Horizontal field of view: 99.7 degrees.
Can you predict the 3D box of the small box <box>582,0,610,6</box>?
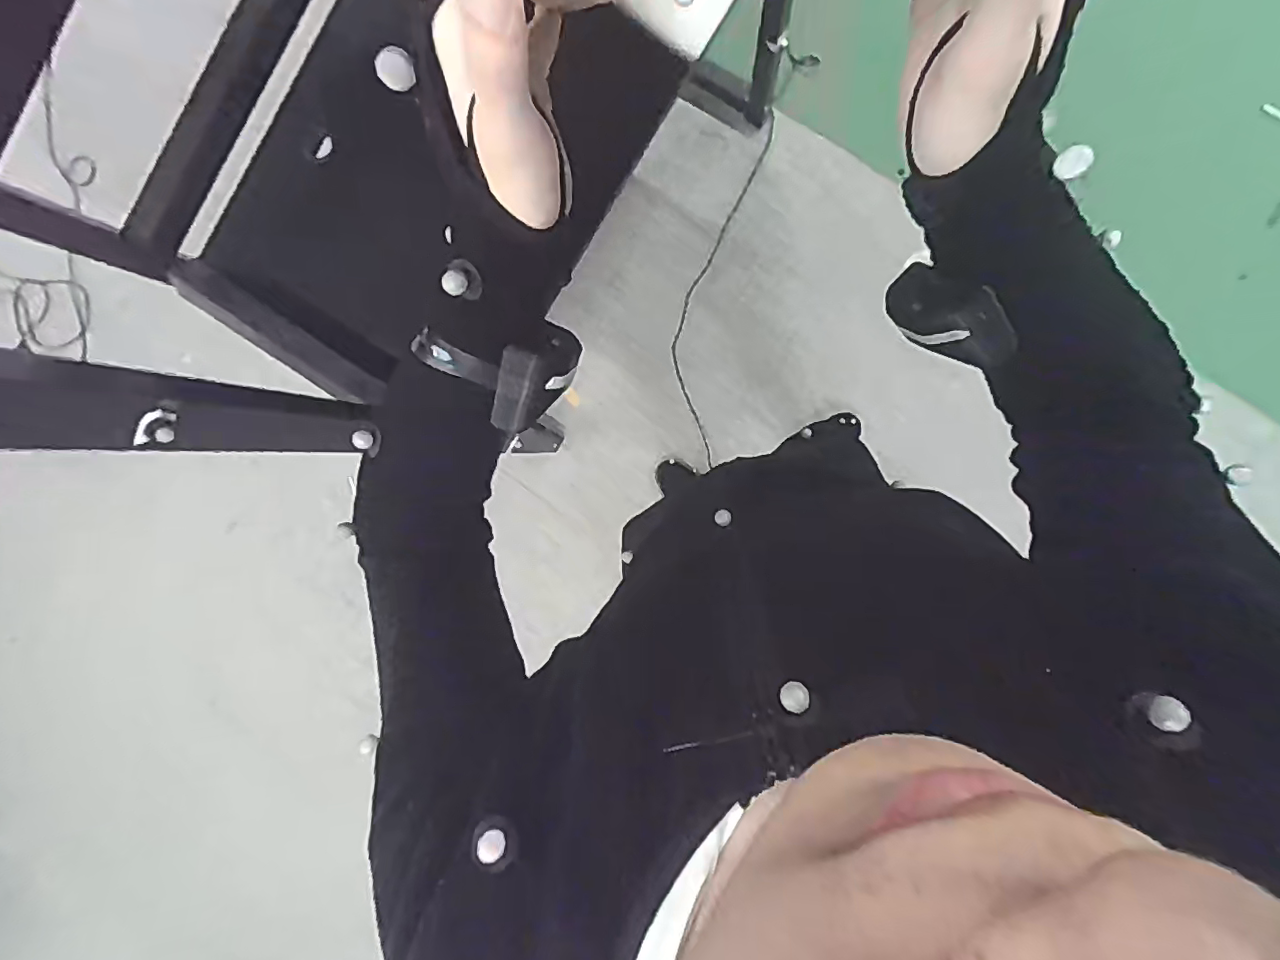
[{"bbox_3d":[0.022,-0.288,0.177,0.168,0.176,0.179,-9,129,6],"label":"small box"}]
